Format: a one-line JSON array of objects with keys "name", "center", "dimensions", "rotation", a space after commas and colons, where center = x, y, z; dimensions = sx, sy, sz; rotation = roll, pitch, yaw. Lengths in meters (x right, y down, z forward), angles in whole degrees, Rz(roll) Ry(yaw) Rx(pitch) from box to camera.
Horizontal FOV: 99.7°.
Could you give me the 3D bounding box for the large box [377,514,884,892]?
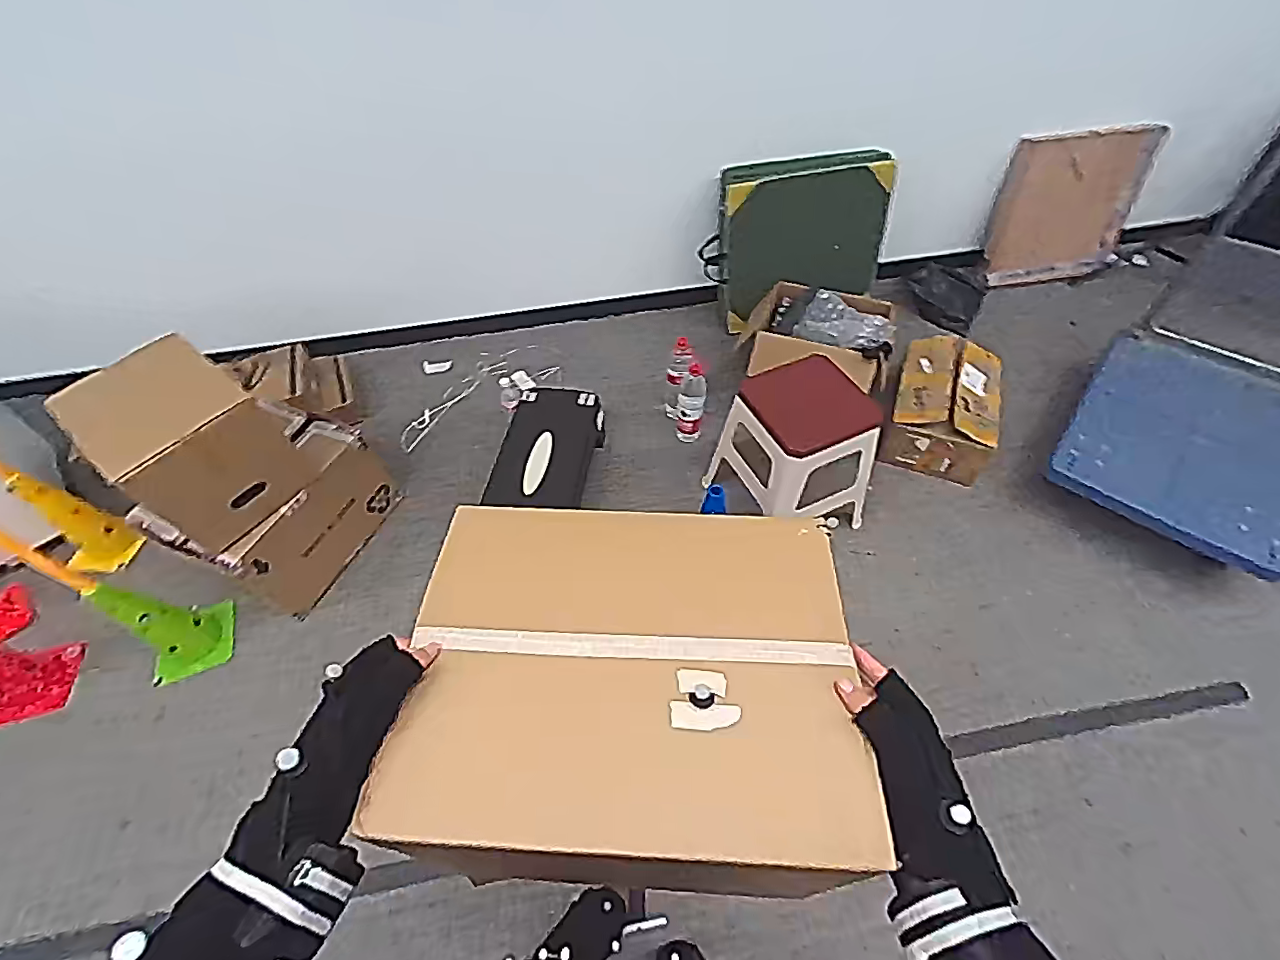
[{"name": "large box", "center": [-0.002, 0.259, 0.624], "dimensions": [0.408, 0.320, 0.320], "rotation": [3, 49, 3]}]
